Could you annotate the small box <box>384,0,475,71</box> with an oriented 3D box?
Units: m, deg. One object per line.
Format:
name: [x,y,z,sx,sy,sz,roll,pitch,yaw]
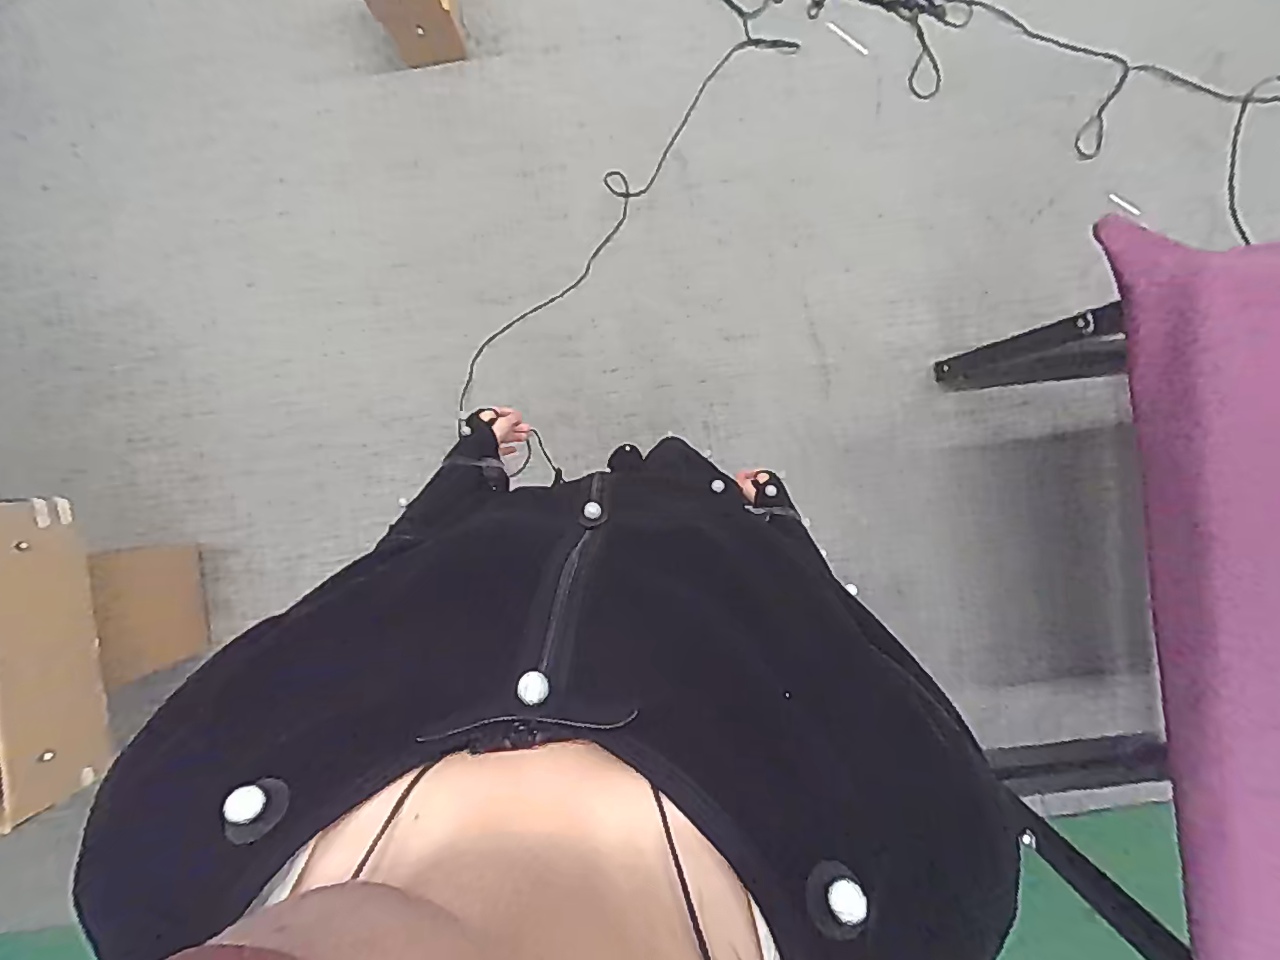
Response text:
small box: [-0.552,-1.211,1.408,0.179,0.176,0.168,-8,91,1]

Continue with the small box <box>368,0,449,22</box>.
small box: [-0.565,-1.206,1.244,0.179,0.176,0.168,-8,92,2]
